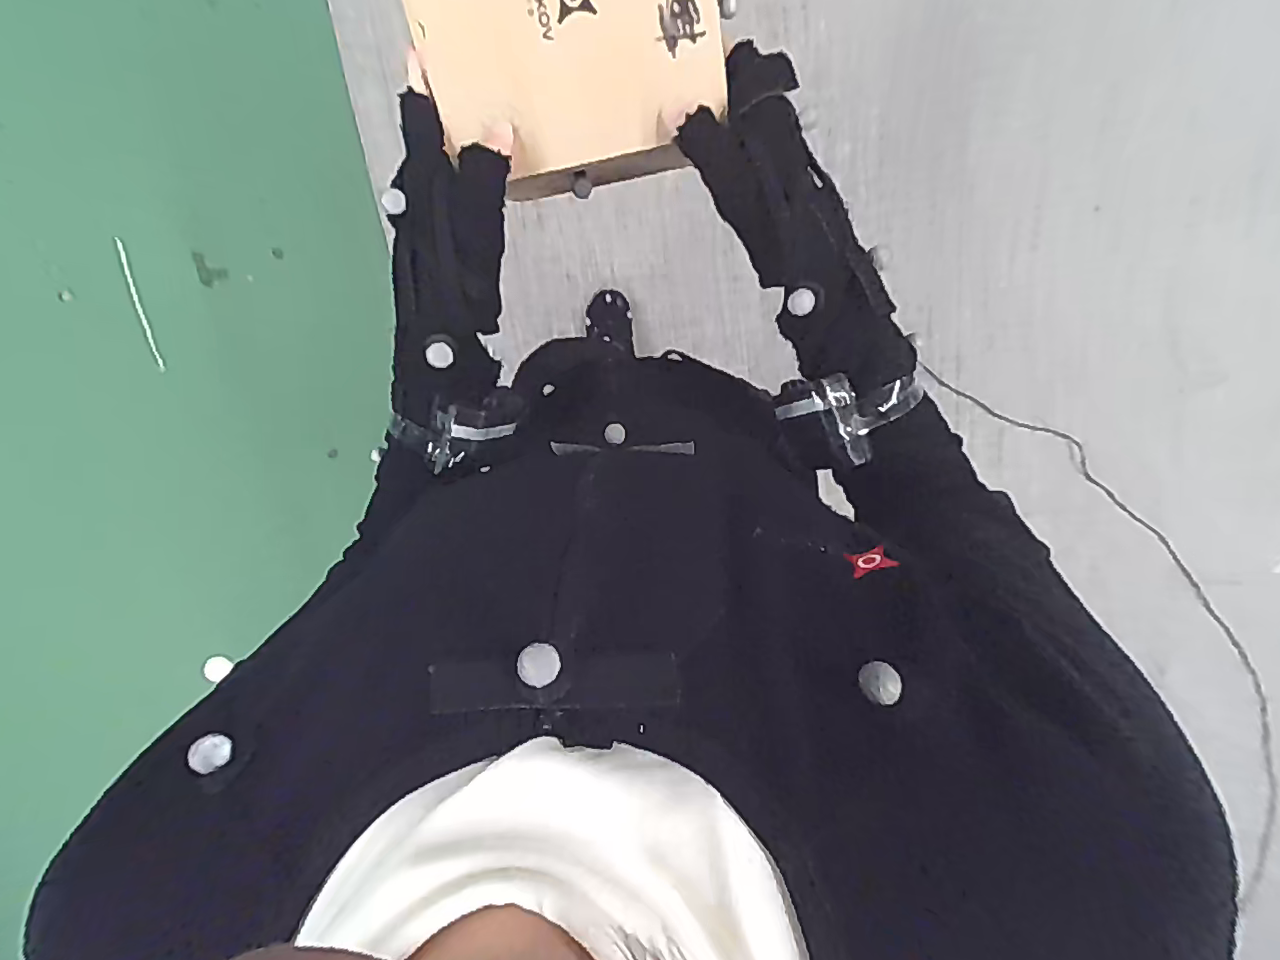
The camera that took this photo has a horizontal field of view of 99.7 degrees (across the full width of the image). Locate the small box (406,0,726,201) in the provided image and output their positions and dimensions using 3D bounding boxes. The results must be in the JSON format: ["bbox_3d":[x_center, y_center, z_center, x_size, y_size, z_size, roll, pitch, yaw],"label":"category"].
[{"bbox_3d":[-0.045,-0.310,0.380,0.179,0.176,0.168,-12,112,6],"label":"small box"}]
